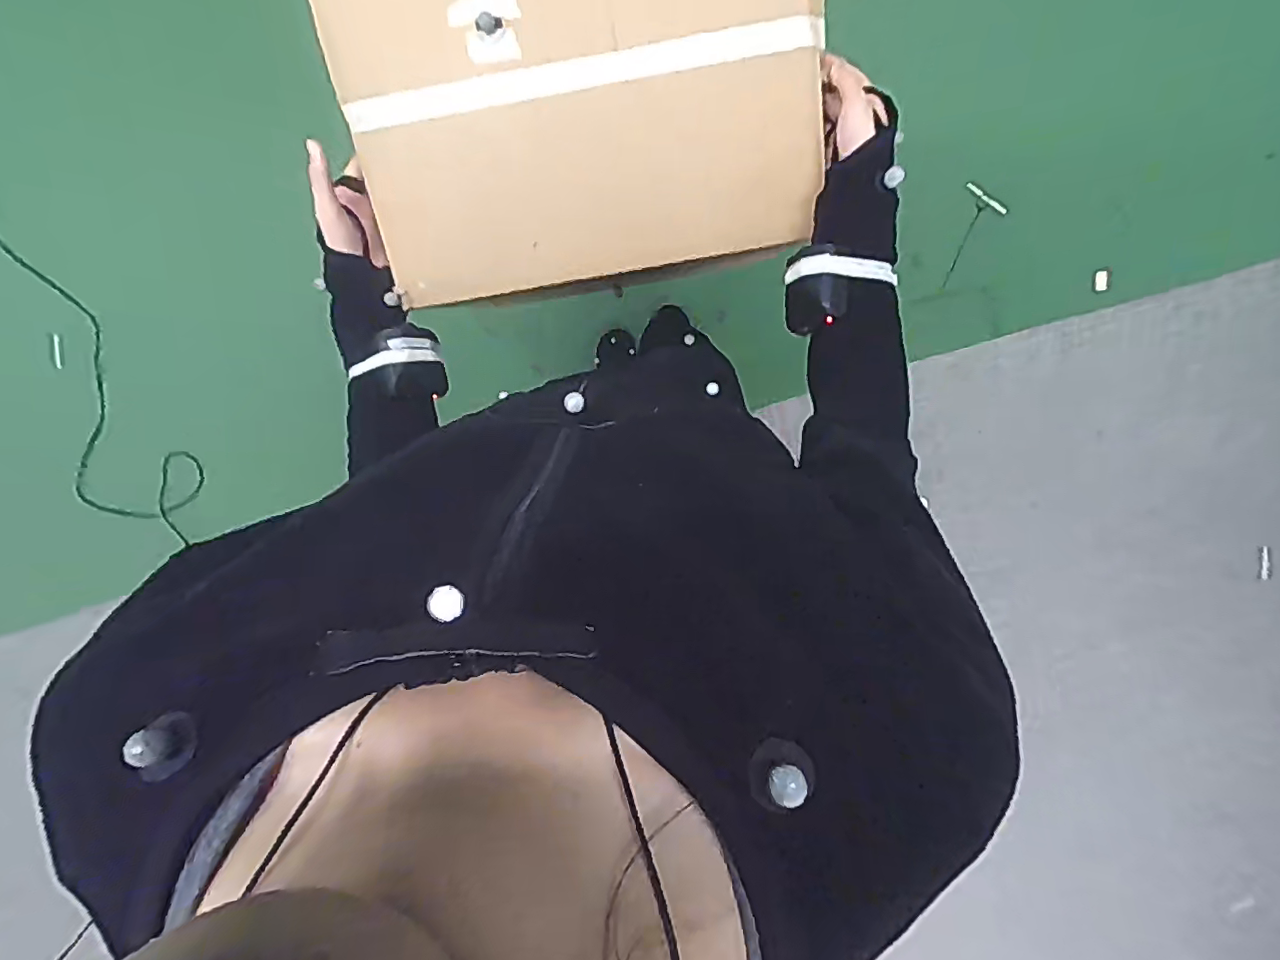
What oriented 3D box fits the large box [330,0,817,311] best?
[{"bbox_3d":[-0.051,-0.386,0.619,0.408,0.320,0.320,-9,107,2],"label":"large box"}]
